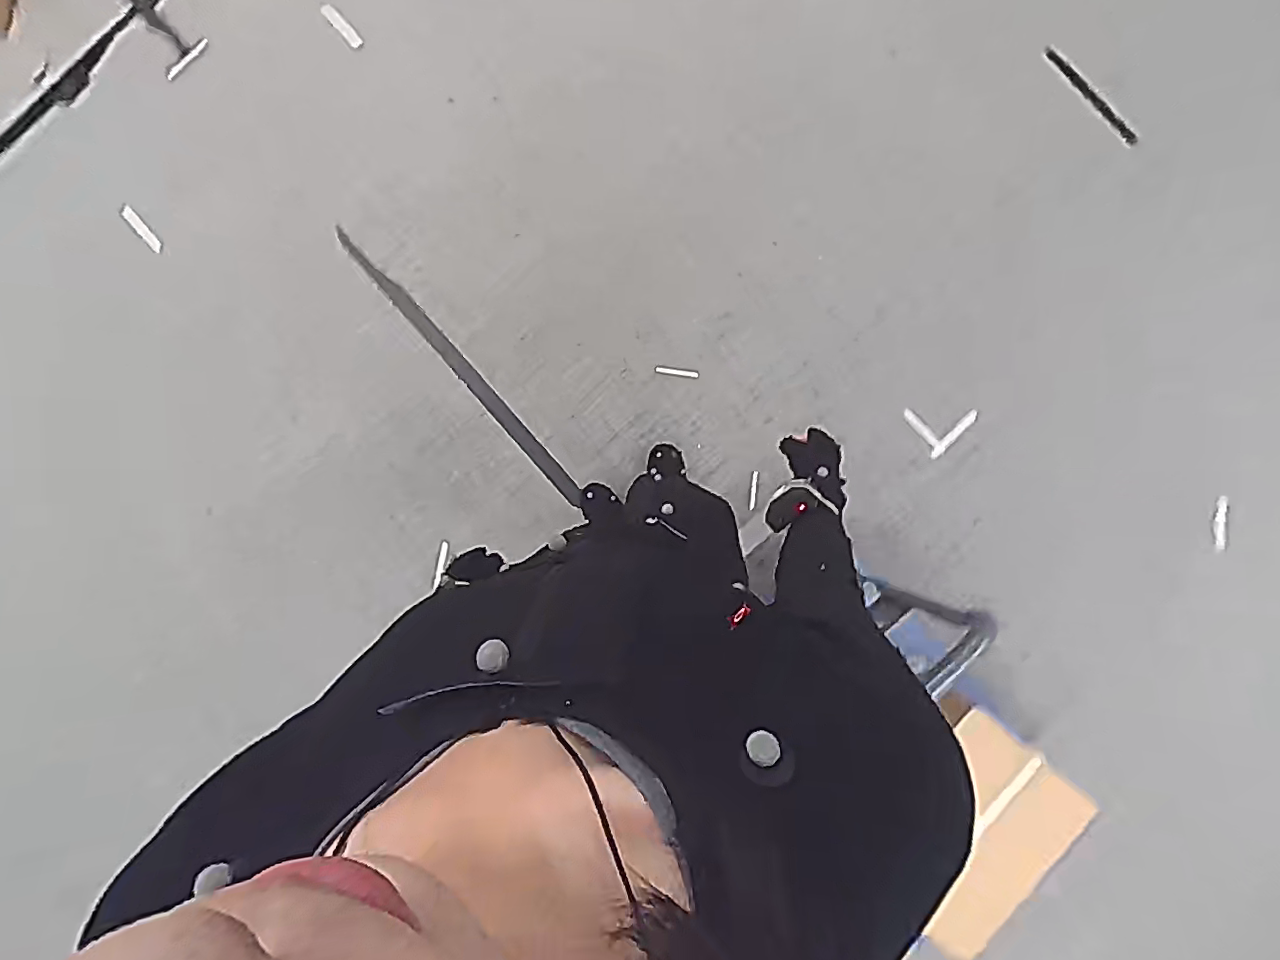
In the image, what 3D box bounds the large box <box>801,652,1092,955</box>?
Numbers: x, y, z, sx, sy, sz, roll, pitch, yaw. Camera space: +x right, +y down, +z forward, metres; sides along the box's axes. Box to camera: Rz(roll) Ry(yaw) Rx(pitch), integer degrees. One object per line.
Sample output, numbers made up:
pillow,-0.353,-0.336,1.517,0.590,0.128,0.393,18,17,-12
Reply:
large box,0.633,0.667,1.188,0.320,0.320,0.408,40,91,1
